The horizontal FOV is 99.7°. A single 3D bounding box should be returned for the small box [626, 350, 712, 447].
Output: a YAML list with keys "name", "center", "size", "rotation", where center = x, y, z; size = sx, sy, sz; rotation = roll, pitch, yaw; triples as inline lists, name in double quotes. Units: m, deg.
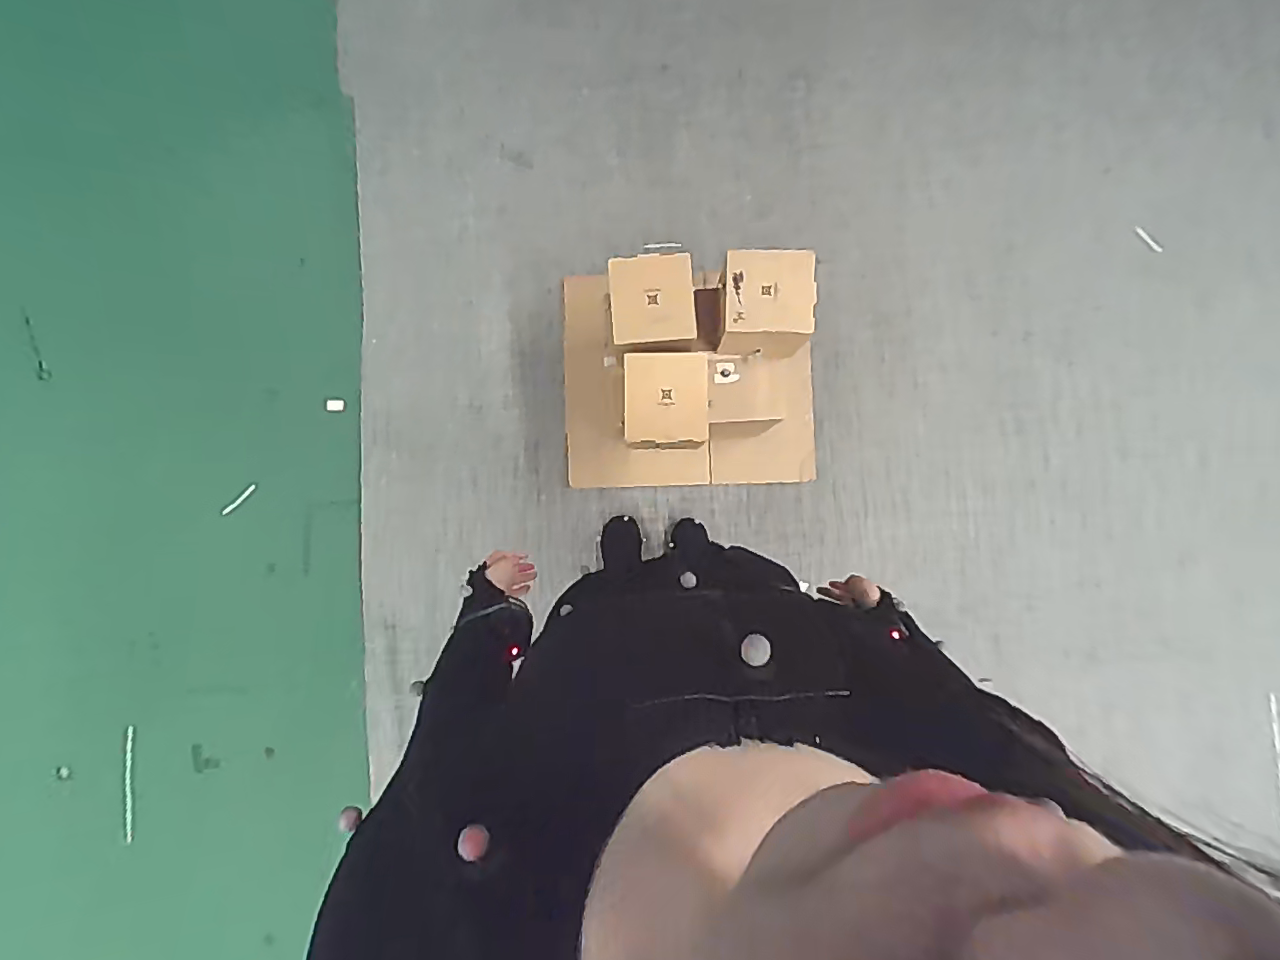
- name: "small box"
  center: [0.055, -0.162, 1.123]
  size: [0.168, 0.176, 0.179]
  rotation: [-1, 89, -1]

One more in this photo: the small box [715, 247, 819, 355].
- name: "small box"
  center: [0.259, -0.366, 1.130]
  size: [0.179, 0.176, 0.168]
  rotation: [2, 87, 1]
